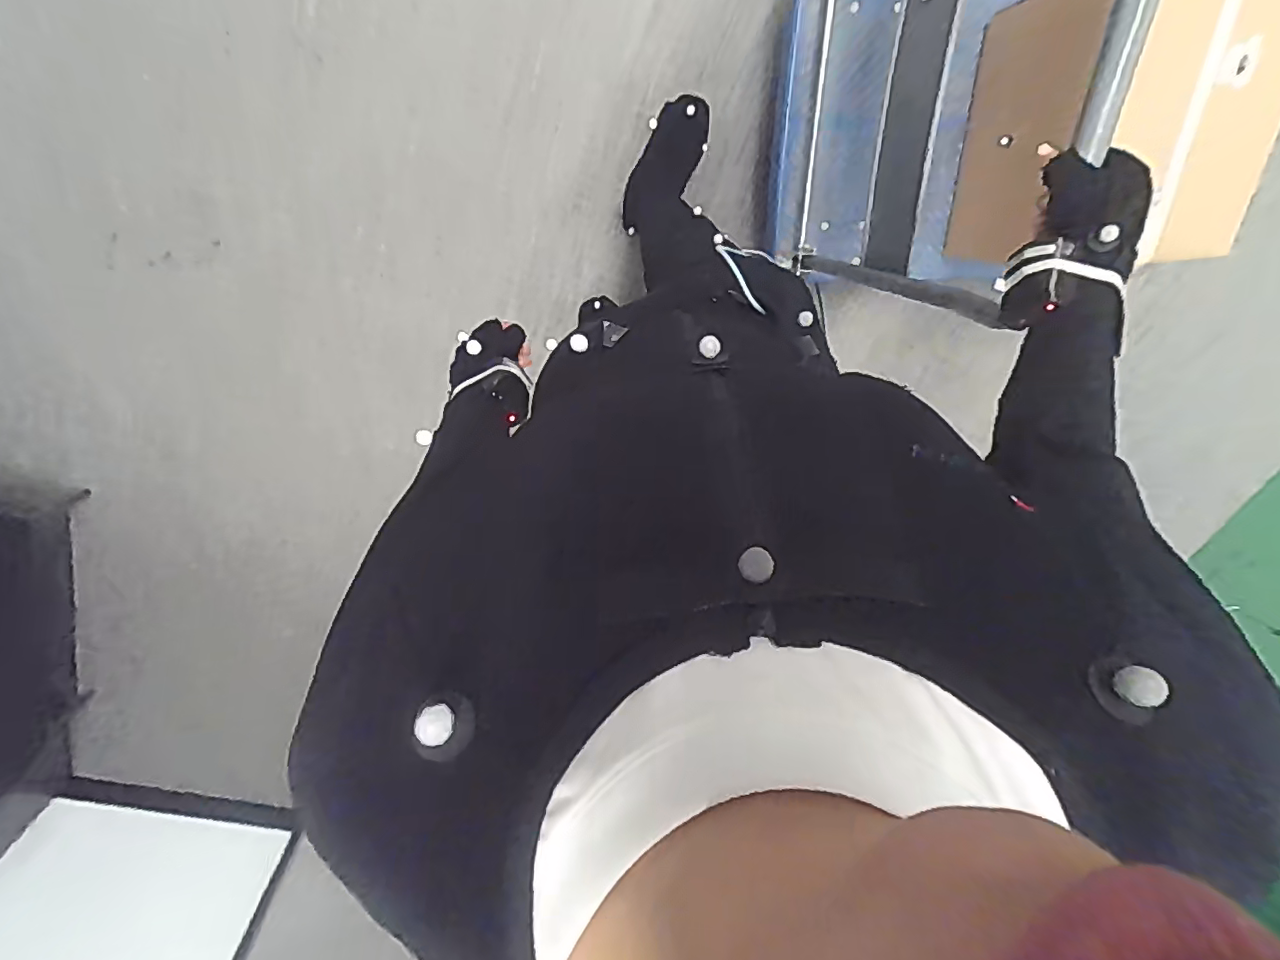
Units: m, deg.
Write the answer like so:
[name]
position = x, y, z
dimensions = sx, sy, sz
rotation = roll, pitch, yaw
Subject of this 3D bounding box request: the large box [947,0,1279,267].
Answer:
[large box]
position = 0.793, -0.608, 0.937
dimensions = 0.320, 0.320, 0.408
rotation = -6, 117, -2
